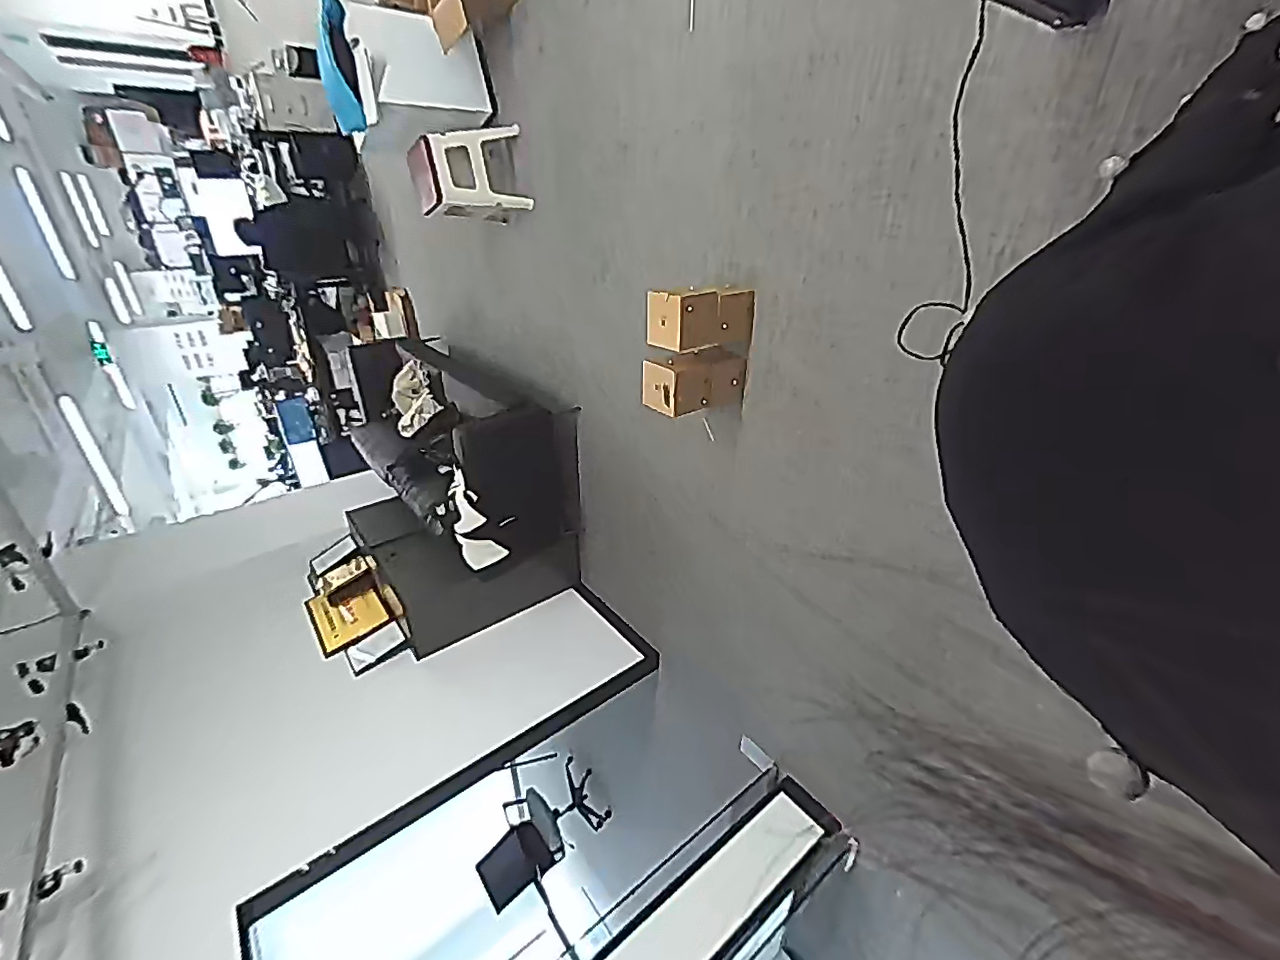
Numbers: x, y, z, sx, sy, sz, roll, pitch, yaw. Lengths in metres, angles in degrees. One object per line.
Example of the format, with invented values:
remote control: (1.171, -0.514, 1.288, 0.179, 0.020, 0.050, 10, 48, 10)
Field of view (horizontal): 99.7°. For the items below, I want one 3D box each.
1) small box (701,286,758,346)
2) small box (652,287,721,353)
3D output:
small box: (0.285, -0.576, 1.882, 0.179, 0.176, 0.168, 31, 131, 45)
small box: (0.154, -0.535, 1.793, 0.168, 0.176, 0.179, 29, 129, 45)
